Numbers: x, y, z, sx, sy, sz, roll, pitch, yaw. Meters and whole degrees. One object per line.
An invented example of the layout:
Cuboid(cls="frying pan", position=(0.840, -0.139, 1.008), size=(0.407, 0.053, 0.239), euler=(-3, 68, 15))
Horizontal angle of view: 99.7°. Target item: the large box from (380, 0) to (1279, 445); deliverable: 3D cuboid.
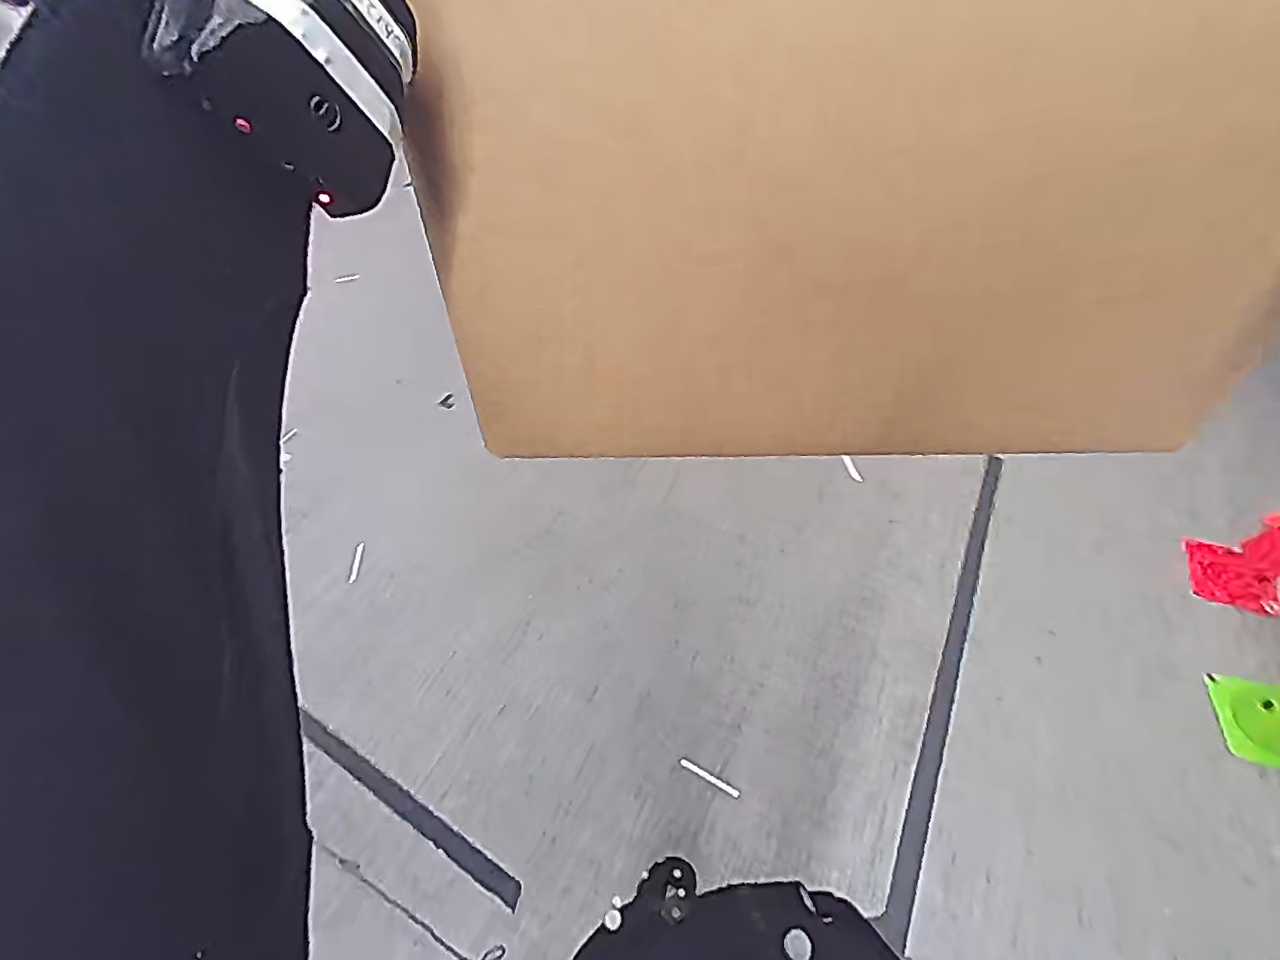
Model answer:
Cuboid(cls="large box", position=(0.100, -0.234, 0.331), size=(0.408, 0.320, 0.320), euler=(-1, 43, -1))
